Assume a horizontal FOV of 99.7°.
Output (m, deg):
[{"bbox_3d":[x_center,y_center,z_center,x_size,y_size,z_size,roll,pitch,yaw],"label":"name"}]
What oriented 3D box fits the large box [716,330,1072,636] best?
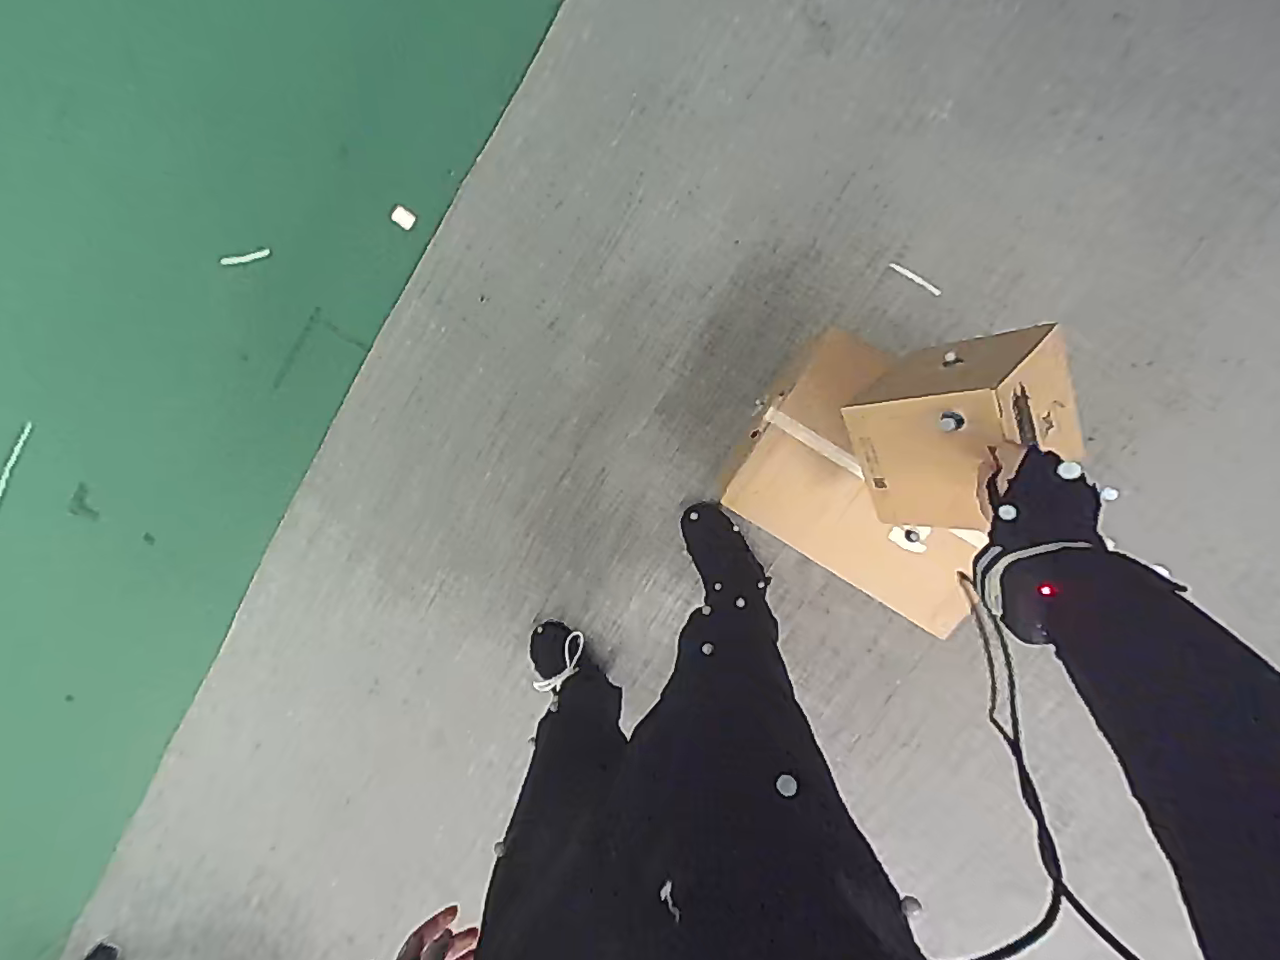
[{"bbox_3d":[0.386,-0.008,0.944,0.408,0.320,0.320,32,100,1],"label":"large box"}]
